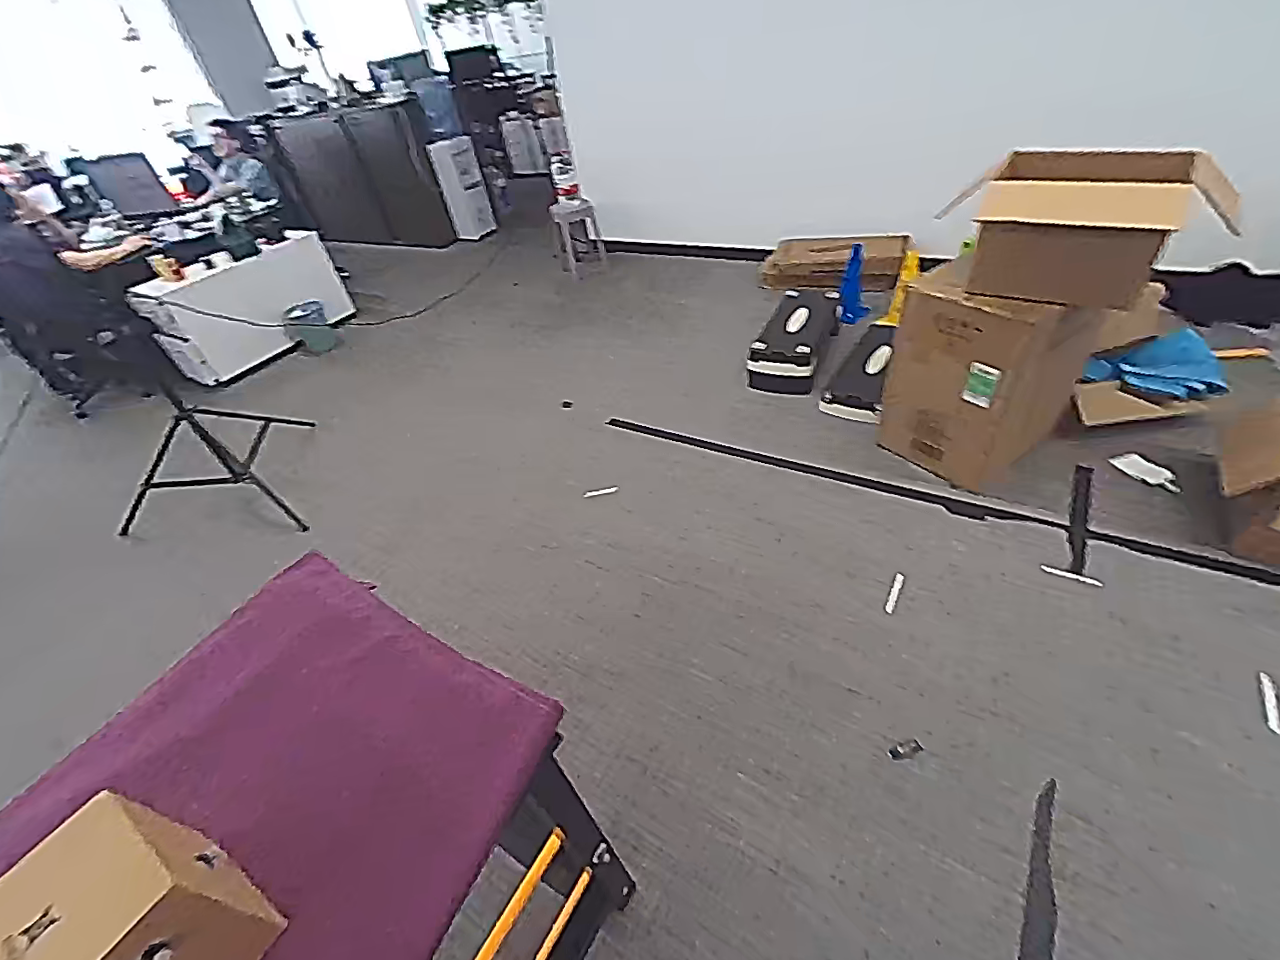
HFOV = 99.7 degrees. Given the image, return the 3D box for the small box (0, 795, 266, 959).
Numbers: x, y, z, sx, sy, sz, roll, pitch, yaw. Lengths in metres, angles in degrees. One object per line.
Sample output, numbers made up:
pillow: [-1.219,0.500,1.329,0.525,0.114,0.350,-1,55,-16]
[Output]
small box: [-0.495,0.445,0.502,0.168,0.176,0.179,14,47,29]
